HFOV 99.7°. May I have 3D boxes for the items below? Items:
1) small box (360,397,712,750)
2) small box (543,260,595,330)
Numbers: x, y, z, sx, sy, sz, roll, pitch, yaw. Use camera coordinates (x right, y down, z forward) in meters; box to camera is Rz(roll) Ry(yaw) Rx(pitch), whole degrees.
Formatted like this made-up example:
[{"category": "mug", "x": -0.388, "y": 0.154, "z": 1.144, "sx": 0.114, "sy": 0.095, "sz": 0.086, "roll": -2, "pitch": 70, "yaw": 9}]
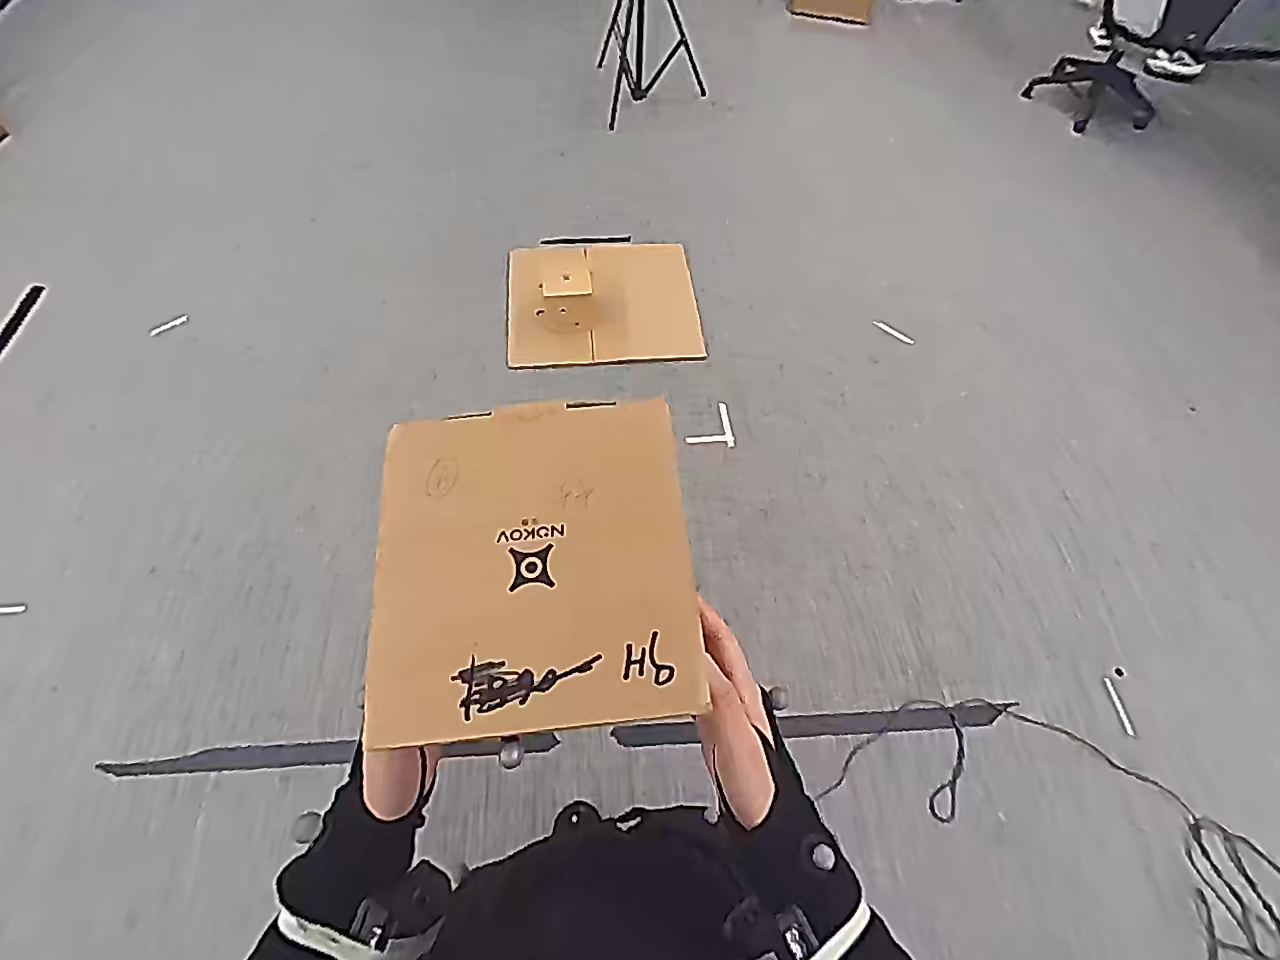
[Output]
[{"category": "small box", "x": -0.053, "y": 0.070, "z": 0.355, "sx": 0.168, "sy": 0.176, "sz": 0.179, "roll": -7, "pitch": 66, "yaw": 0}, {"category": "small box", "x": -0.250, "y": -0.649, "z": 1.914, "sx": 0.168, "sy": 0.176, "sz": 0.179, "roll": -6, "pitch": 62, "yaw": -6}]
